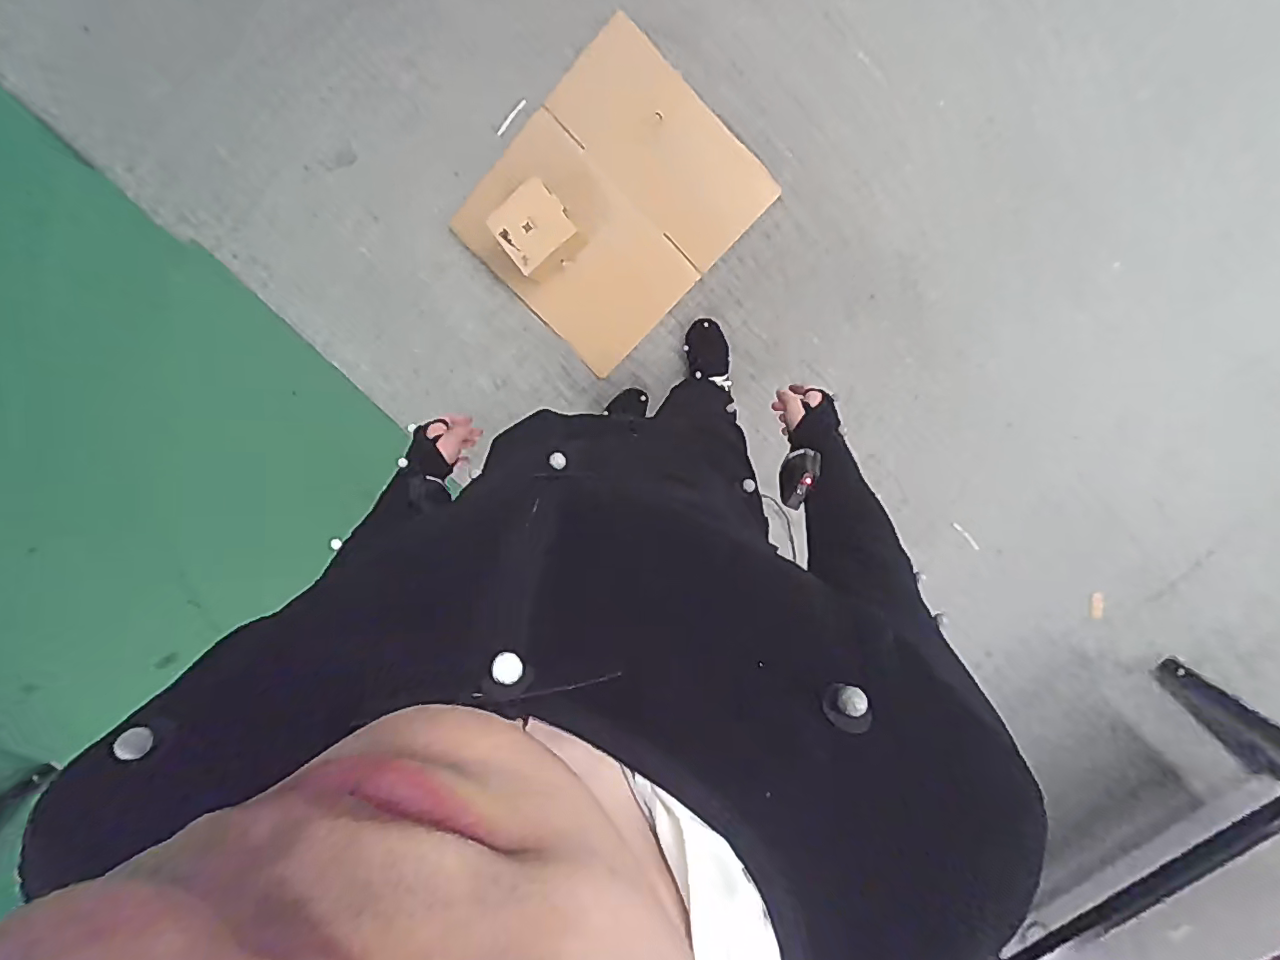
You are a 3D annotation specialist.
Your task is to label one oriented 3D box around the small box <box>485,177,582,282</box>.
[{"bbox_3d":[-0.266,-0.642,1.409,0.179,0.176,0.168,-36,99,11],"label":"small box"}]
